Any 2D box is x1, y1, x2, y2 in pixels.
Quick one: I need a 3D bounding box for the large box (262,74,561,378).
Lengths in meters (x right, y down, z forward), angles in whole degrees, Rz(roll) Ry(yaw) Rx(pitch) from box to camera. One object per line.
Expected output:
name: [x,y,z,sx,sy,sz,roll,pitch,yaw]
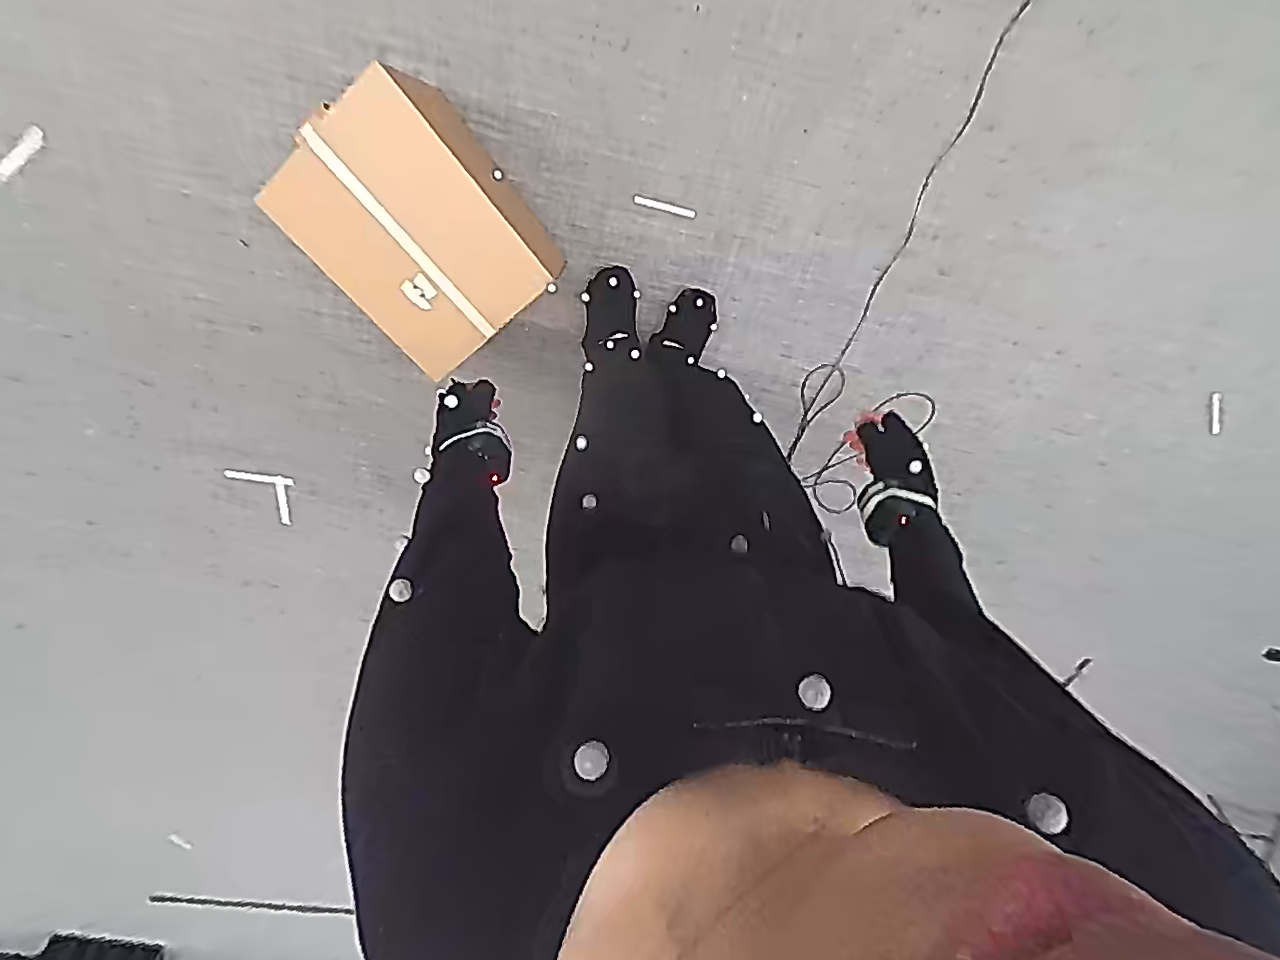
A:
large box: [-0.411,-0.487,1.083,0.320,0.320,0.408,-35,116,16]
